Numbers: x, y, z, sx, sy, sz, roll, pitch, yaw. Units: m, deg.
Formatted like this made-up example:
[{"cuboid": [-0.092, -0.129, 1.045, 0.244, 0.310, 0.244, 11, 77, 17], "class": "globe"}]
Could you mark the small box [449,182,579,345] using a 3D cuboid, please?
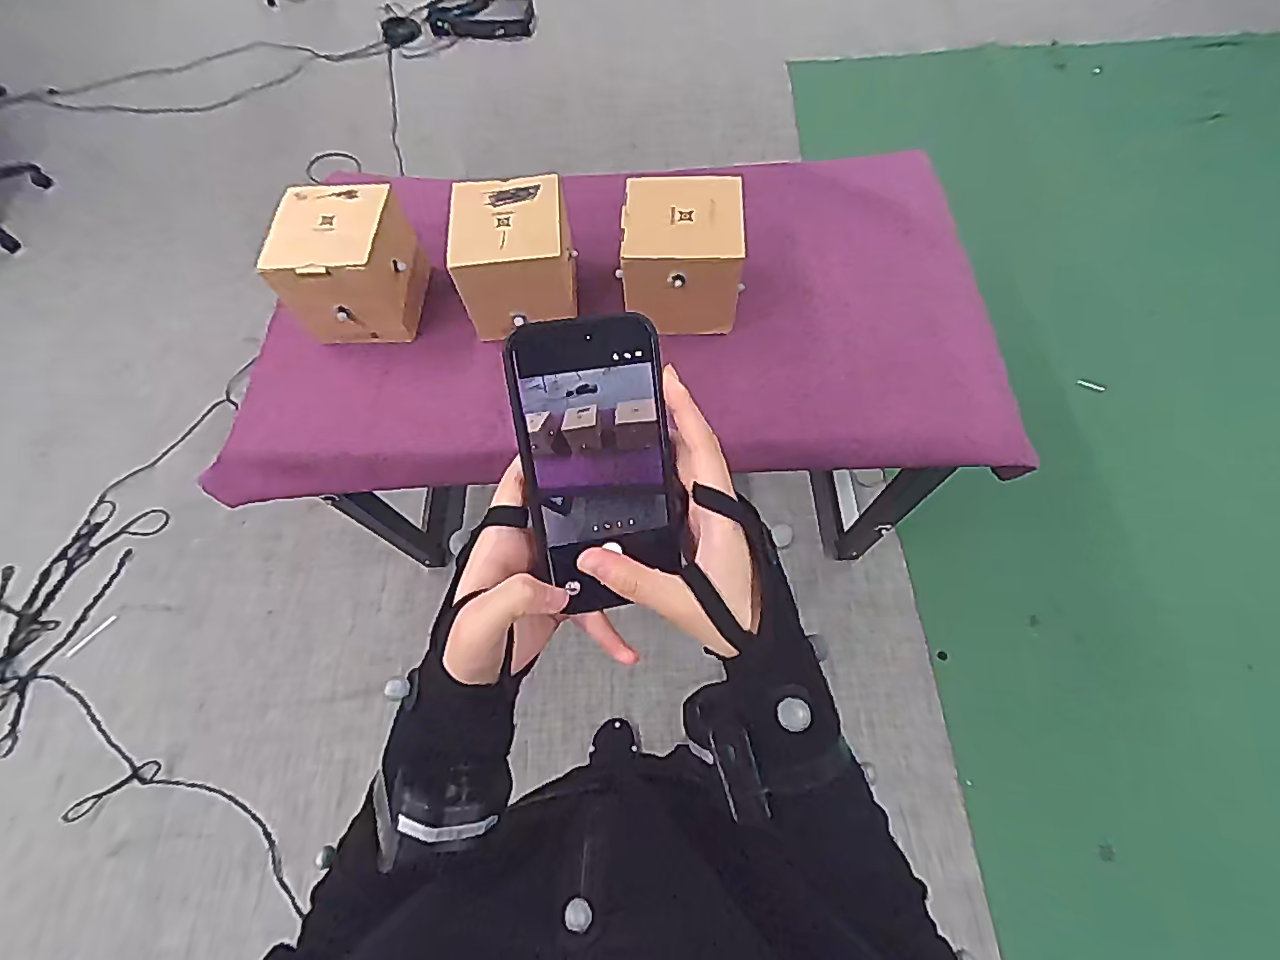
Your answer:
[{"cuboid": [-0.194, -0.345, 0.876, 0.168, 0.176, 0.179, -5, 65, 1], "class": "small box"}]

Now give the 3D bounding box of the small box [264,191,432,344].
[{"cuboid": [-0.462, -0.338, 0.887, 0.168, 0.176, 0.179, 0, 66, 3], "class": "small box"}]

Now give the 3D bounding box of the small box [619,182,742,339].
[{"cuboid": [0.066, -0.342, 0.861, 0.179, 0.176, 0.168, 2, 66, 4], "class": "small box"}]
